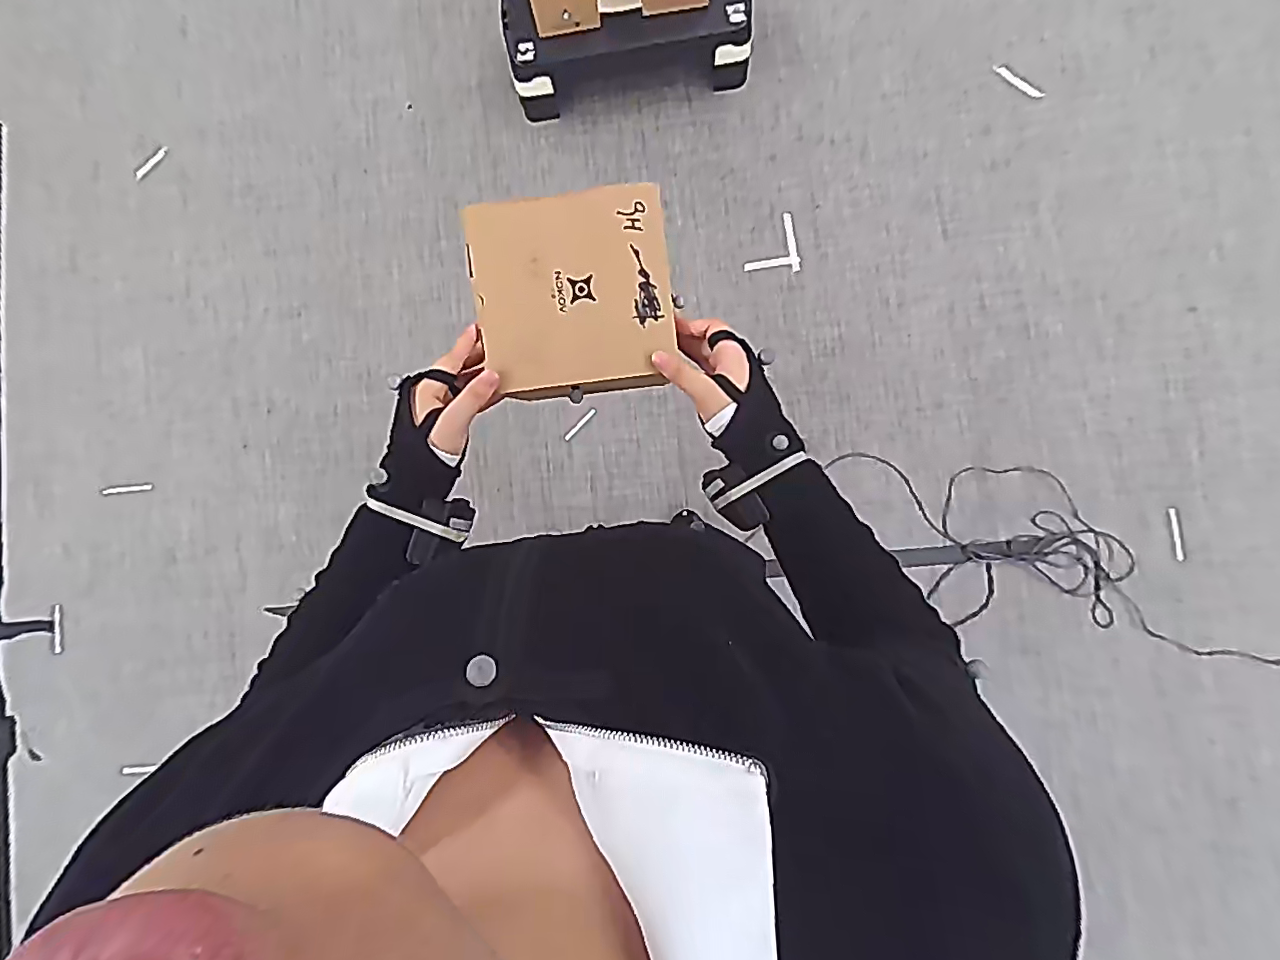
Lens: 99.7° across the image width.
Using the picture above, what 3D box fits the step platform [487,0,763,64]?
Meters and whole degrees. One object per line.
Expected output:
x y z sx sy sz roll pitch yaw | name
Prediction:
-0.037 -1.247 1.303 0.684 0.204 0.286 -8 85 2 | step platform

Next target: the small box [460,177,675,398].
-0.061 -0.177 0.550 0.179 0.176 0.168 -6 95 1 | small box
